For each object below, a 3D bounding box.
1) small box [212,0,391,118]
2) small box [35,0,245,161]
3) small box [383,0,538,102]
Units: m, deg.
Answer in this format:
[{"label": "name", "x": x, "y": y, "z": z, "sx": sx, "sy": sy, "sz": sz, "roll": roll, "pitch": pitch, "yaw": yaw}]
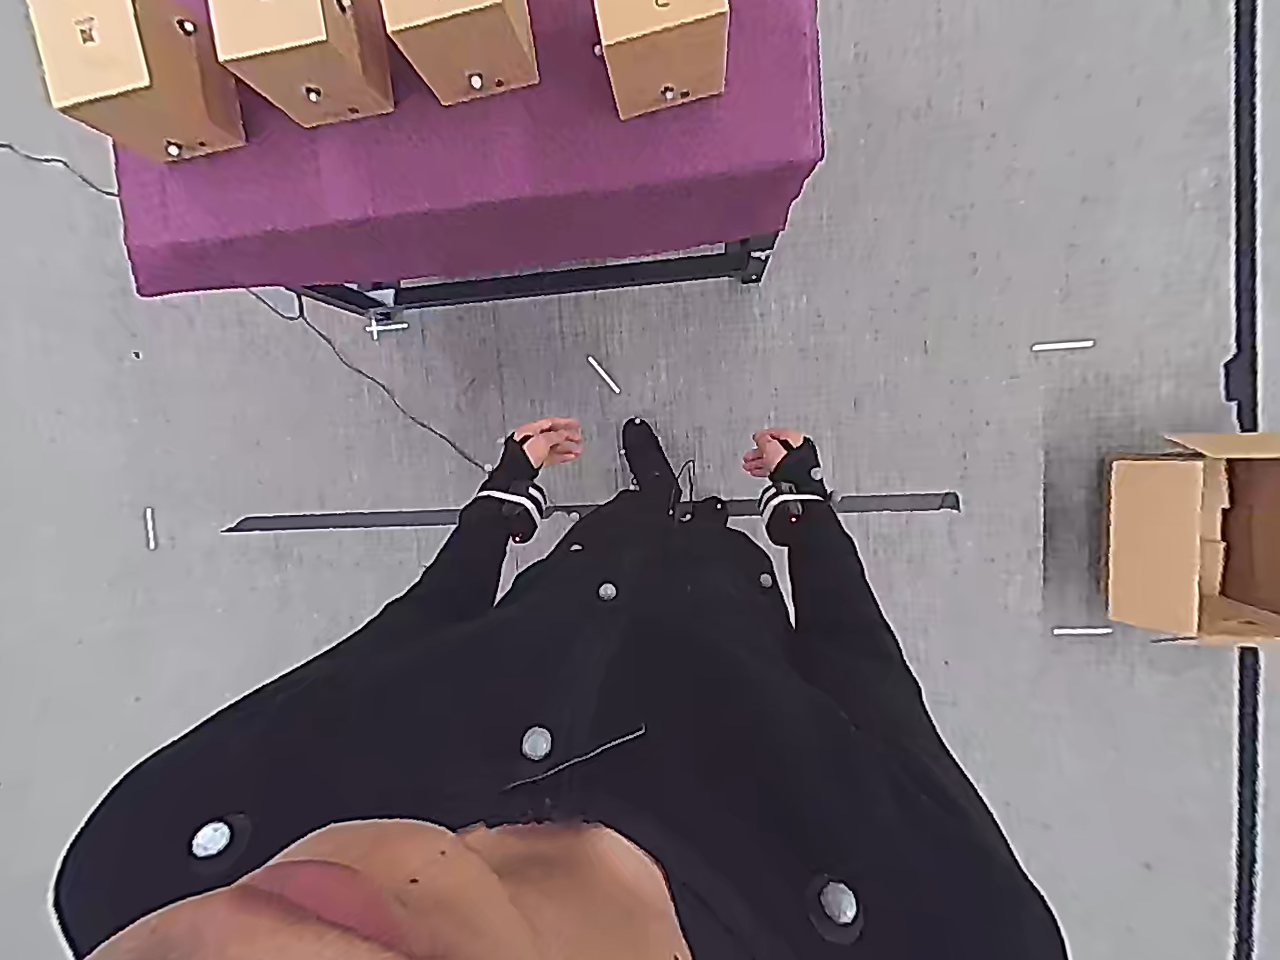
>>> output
[{"label": "small box", "x": -0.500, "y": -0.681, "z": 0.815, "sx": 0.168, "sy": 0.176, "sz": 0.179, "roll": -5, "pitch": 94, "yaw": 6}, {"label": "small box", "x": -0.770, "y": -0.642, "z": 0.848, "sx": 0.168, "sy": 0.176, "sz": 0.179, "roll": -7, "pitch": 94, "yaw": 7}, {"label": "small box", "x": -0.261, "y": -0.704, "z": 0.787, "sx": 0.168, "sy": 0.176, "sz": 0.179, "roll": -9, "pitch": 94, "yaw": 7}]
